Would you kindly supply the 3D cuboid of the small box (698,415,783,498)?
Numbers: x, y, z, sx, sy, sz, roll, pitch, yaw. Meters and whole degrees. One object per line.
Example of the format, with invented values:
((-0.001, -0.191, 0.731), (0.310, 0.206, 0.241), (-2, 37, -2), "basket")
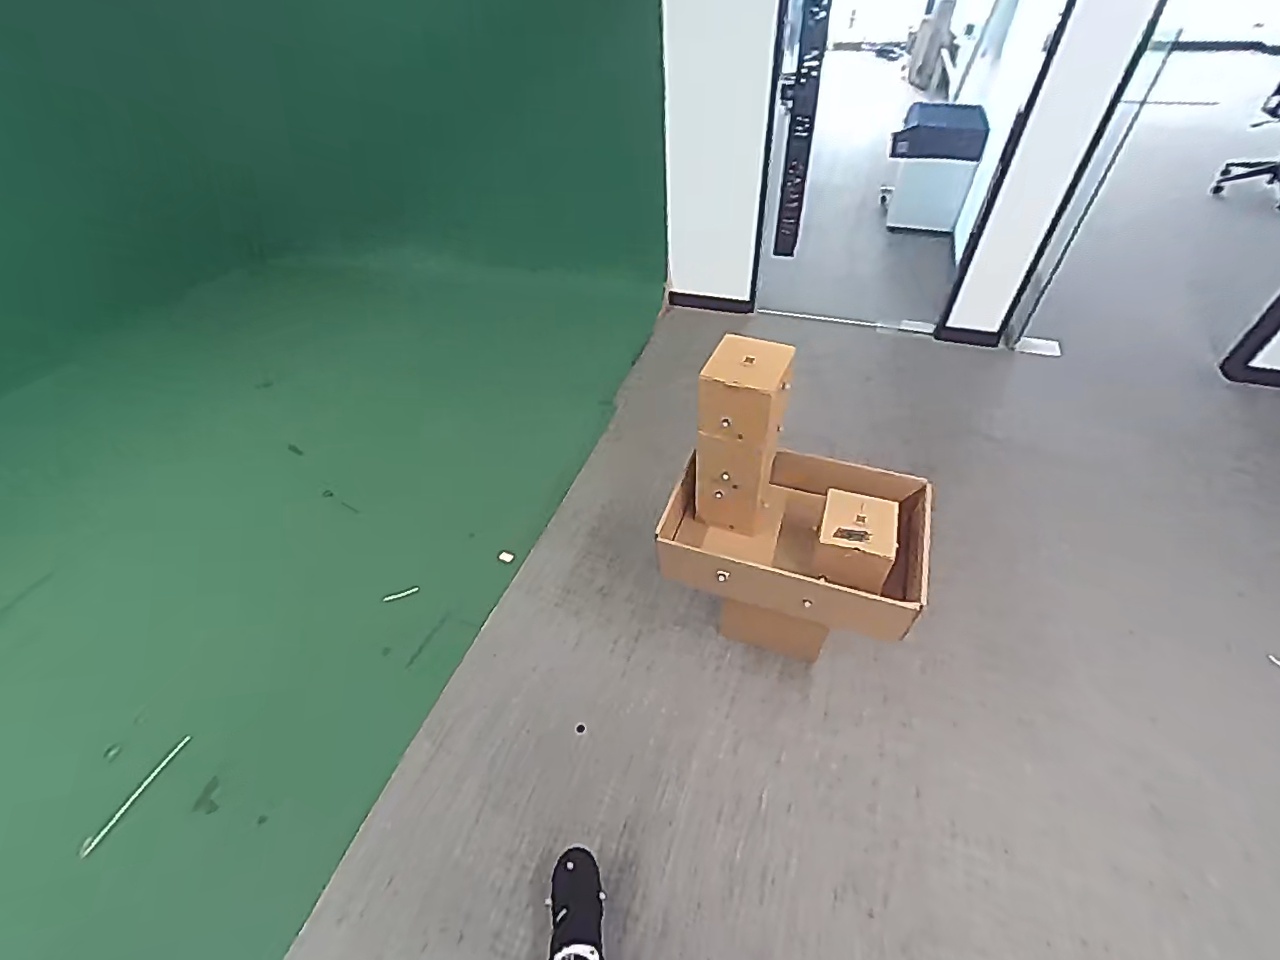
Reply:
((0.247, -0.086, 1.353), (0.168, 0.176, 0.179), (16, 50, 19), "small box")

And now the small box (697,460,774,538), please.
((0.256, 0.026, 1.473), (0.168, 0.176, 0.179), (15, 50, 17), "small box")

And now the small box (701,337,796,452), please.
((0.242, -0.195, 1.234), (0.168, 0.176, 0.179), (18, 51, 19), "small box")

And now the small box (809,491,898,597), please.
((0.518, 0.160, 1.325), (0.168, 0.176, 0.179), (13, 48, 16), "small box")
